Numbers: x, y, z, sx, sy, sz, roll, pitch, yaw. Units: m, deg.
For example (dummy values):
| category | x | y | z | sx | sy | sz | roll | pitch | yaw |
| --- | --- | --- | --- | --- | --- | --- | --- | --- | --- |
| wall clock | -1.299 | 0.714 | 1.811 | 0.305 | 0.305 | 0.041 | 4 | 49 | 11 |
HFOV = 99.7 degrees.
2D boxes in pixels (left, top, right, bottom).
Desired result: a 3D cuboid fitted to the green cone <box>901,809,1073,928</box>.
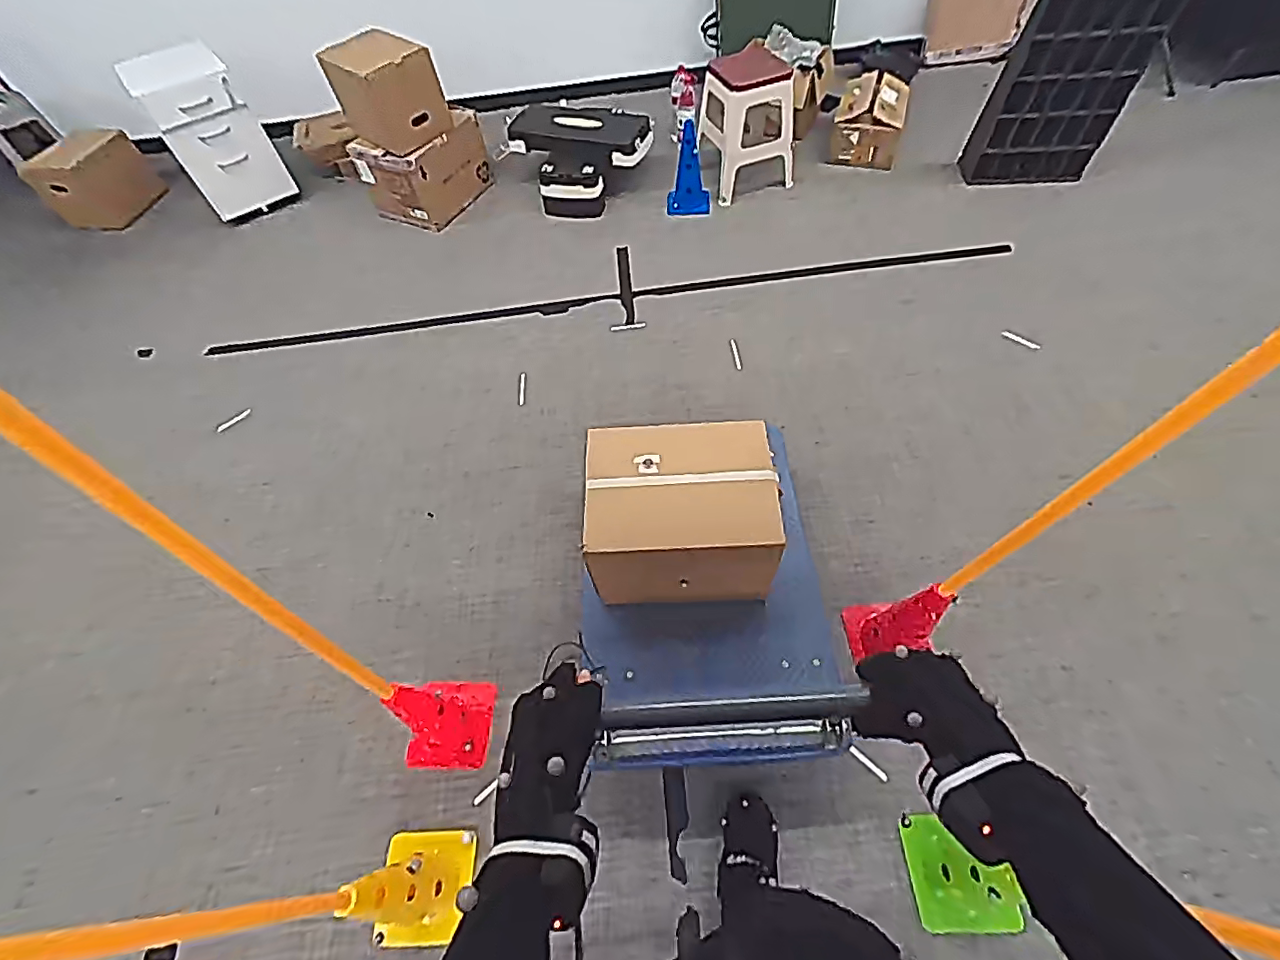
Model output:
| category | x | y | z | sx | sy | sz | roll | pitch | yaw |
| --- | --- | --- | --- | --- | --- | --- | --- | --- | --- |
| green cone | 0.657 | 0.712 | 0.987 | 0.202 | 0.368 | 0.200 | -3 | 56 | 2 |

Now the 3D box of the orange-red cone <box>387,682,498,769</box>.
| category | x | y | z | sx | sy | sz | roll | pitch | yaw |
| --- | --- | --- | --- | --- | --- | --- | --- | --- | --- |
| orange-red cone | -0.481 | 0.519 | 1.228 | 0.198 | 0.360 | 0.199 | 0 | 55 | 4 |

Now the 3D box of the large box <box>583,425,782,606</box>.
| category | x | y | z | sx | sy | sz | roll | pitch | yaw |
| --- | --- | --- | --- | --- | --- | --- | --- | --- | --- |
| large box | 0.093 | 0.096 | 1.279 | 0.408 | 0.320 | 0.320 | -4 | 57 | 4 |

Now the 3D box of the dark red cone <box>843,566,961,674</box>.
| category | x | y | z | sx | sy | sz | roll | pitch | yaw |
| --- | --- | --- | --- | --- | --- | --- | --- | --- | --- |
| dark red cone | 0.632 | 0.299 | 1.242 | 0.201 | 0.394 | 0.202 | -6 | 57 | -1 |
